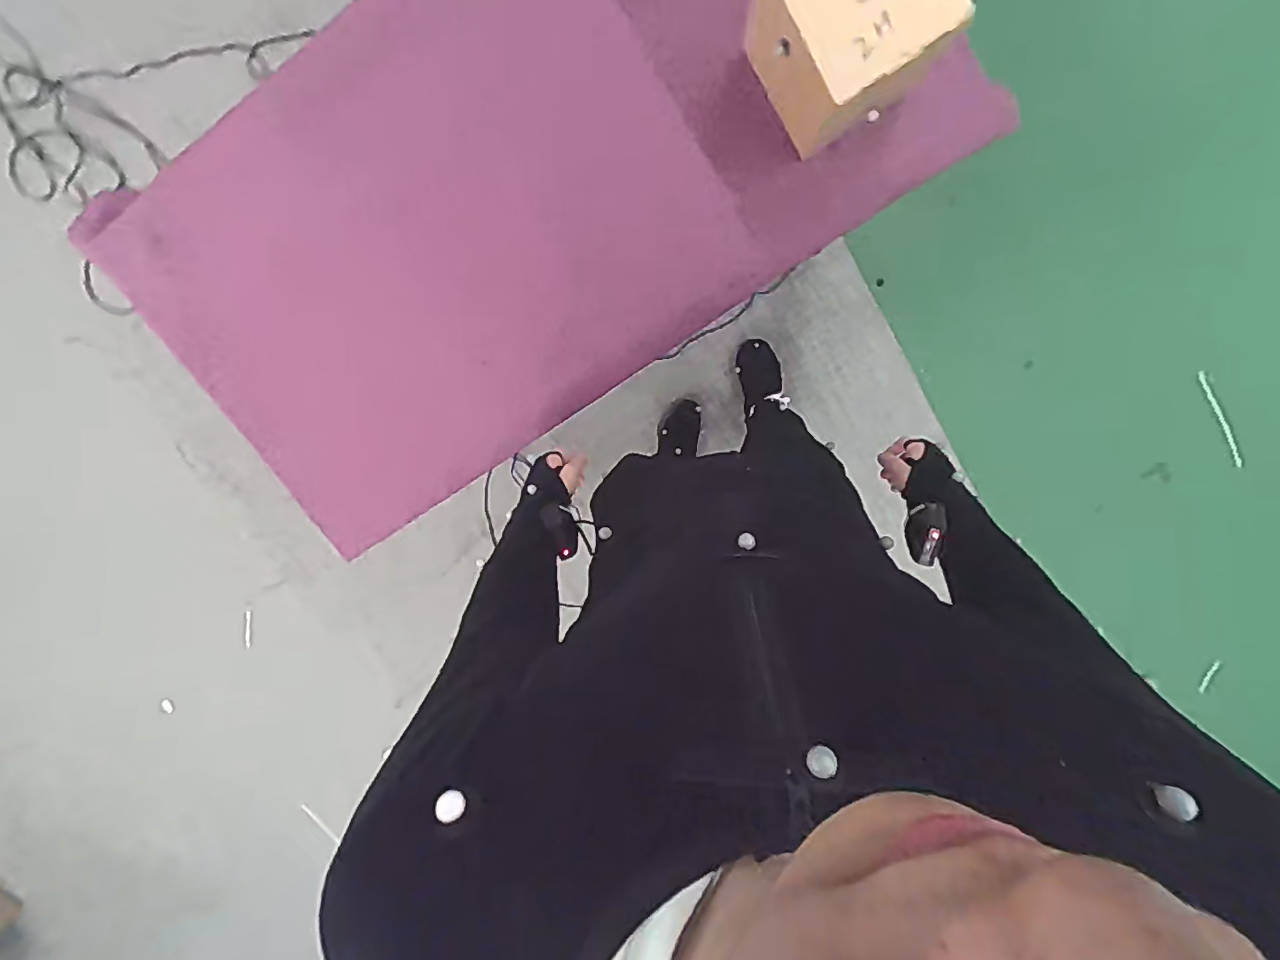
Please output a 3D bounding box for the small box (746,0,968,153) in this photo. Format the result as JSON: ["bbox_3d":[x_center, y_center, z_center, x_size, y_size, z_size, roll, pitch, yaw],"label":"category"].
[{"bbox_3d":[0.245,-0.547,0.658,0.168,0.176,0.179,-30,99,10],"label":"small box"}]
